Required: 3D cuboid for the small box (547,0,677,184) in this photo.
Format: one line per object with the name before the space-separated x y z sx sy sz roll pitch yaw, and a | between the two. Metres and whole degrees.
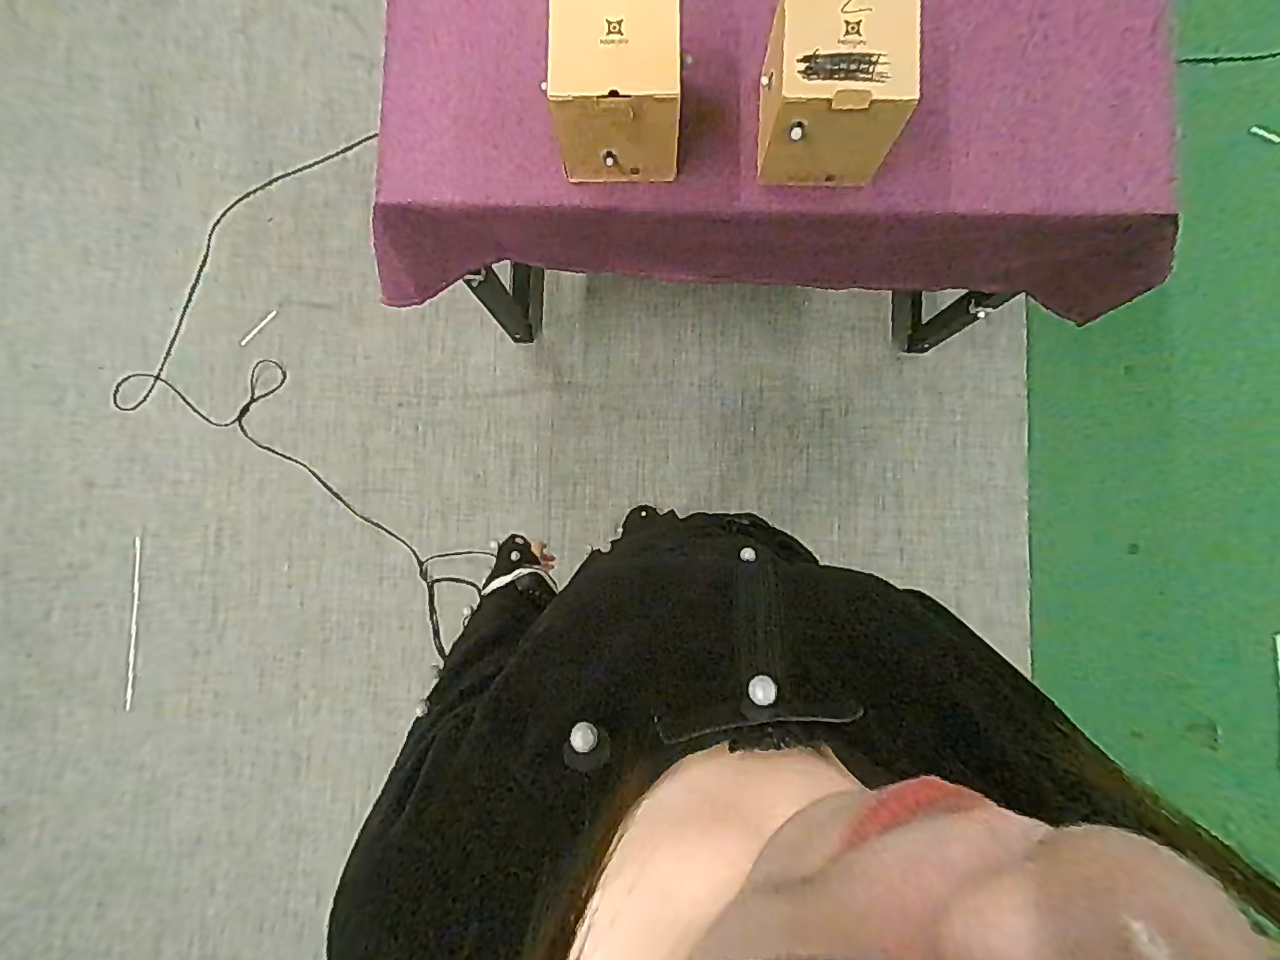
small box | -0.034 -0.554 0.766 0.168 0.176 0.179 0 87 2
